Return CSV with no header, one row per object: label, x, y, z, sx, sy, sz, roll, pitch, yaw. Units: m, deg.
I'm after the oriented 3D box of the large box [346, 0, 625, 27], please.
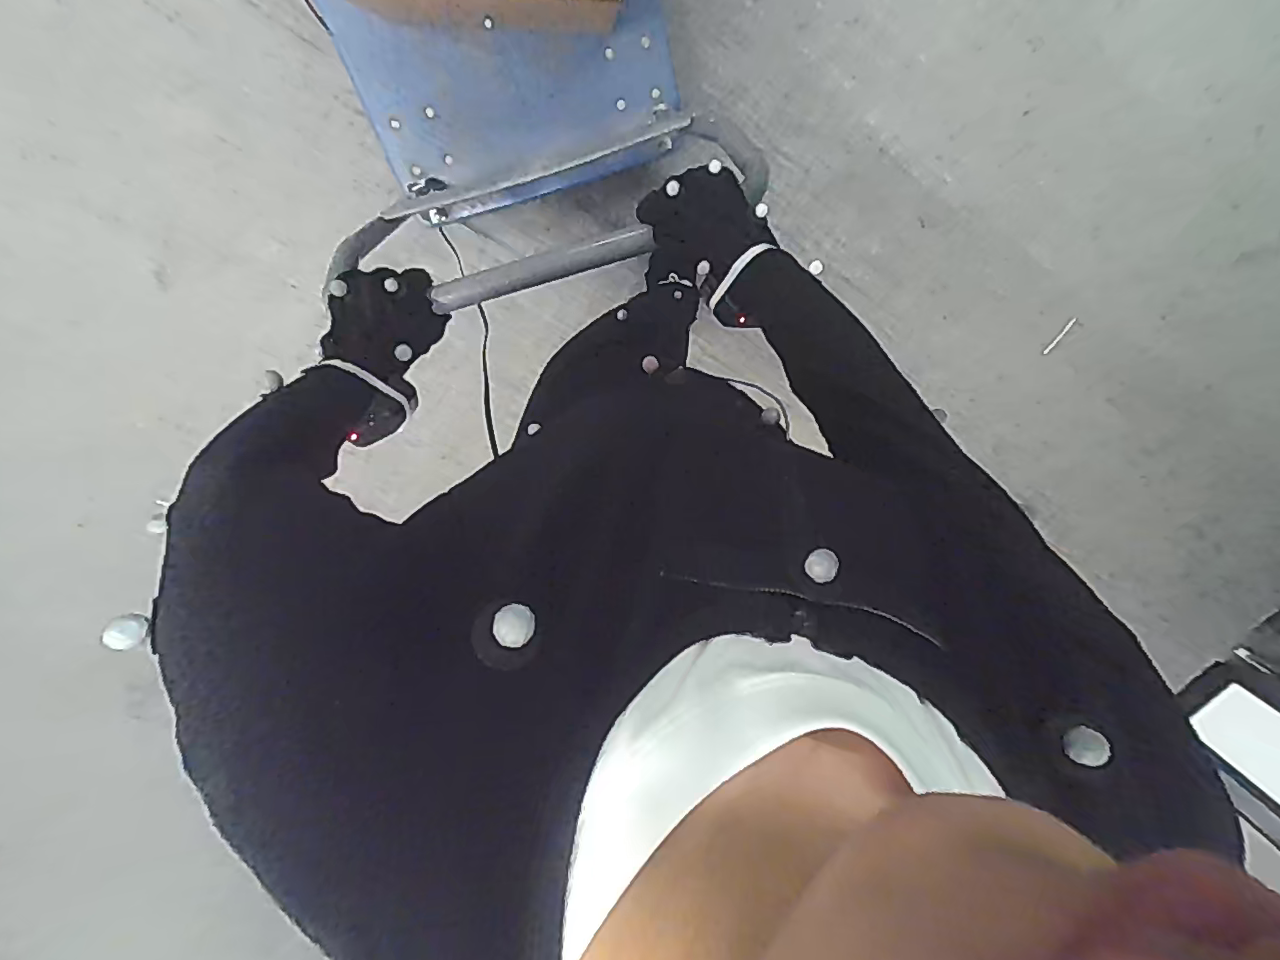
large box,-0.226,-0.852,0.756,0.408,0.320,0.320,-2,123,-4
